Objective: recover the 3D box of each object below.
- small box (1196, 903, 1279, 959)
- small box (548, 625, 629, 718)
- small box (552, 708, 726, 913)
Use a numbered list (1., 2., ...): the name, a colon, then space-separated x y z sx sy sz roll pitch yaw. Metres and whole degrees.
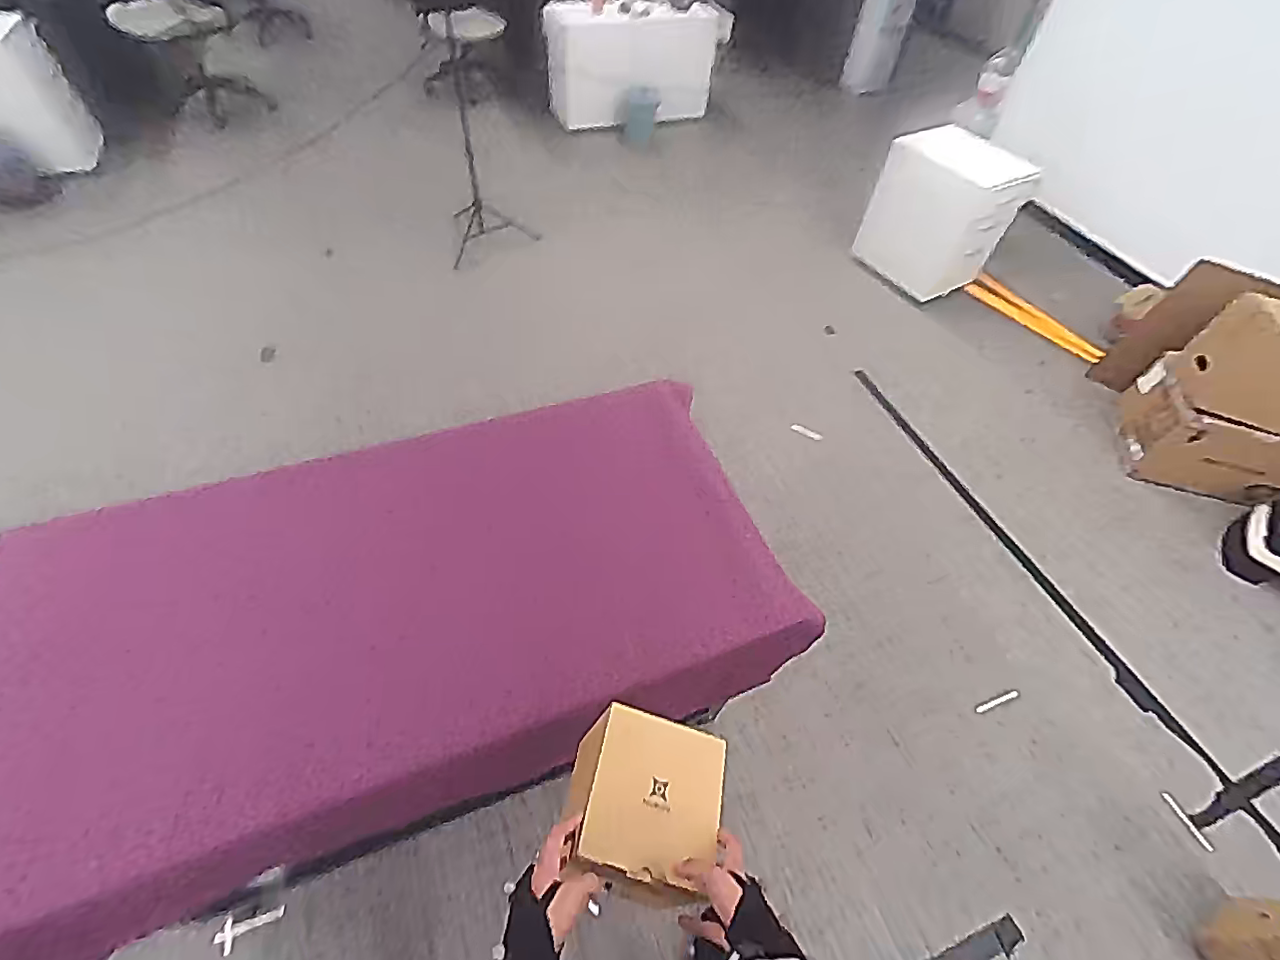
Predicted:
1. small box: 1.404 1.064 1.186 0.179 0.176 0.168 -18 57 -16
2. small box: -0.143 0.520 1.465 0.179 0.176 0.168 -15 55 -15
3. small box: -0.004 0.434 0.708 0.168 0.176 0.179 22 46 -5
